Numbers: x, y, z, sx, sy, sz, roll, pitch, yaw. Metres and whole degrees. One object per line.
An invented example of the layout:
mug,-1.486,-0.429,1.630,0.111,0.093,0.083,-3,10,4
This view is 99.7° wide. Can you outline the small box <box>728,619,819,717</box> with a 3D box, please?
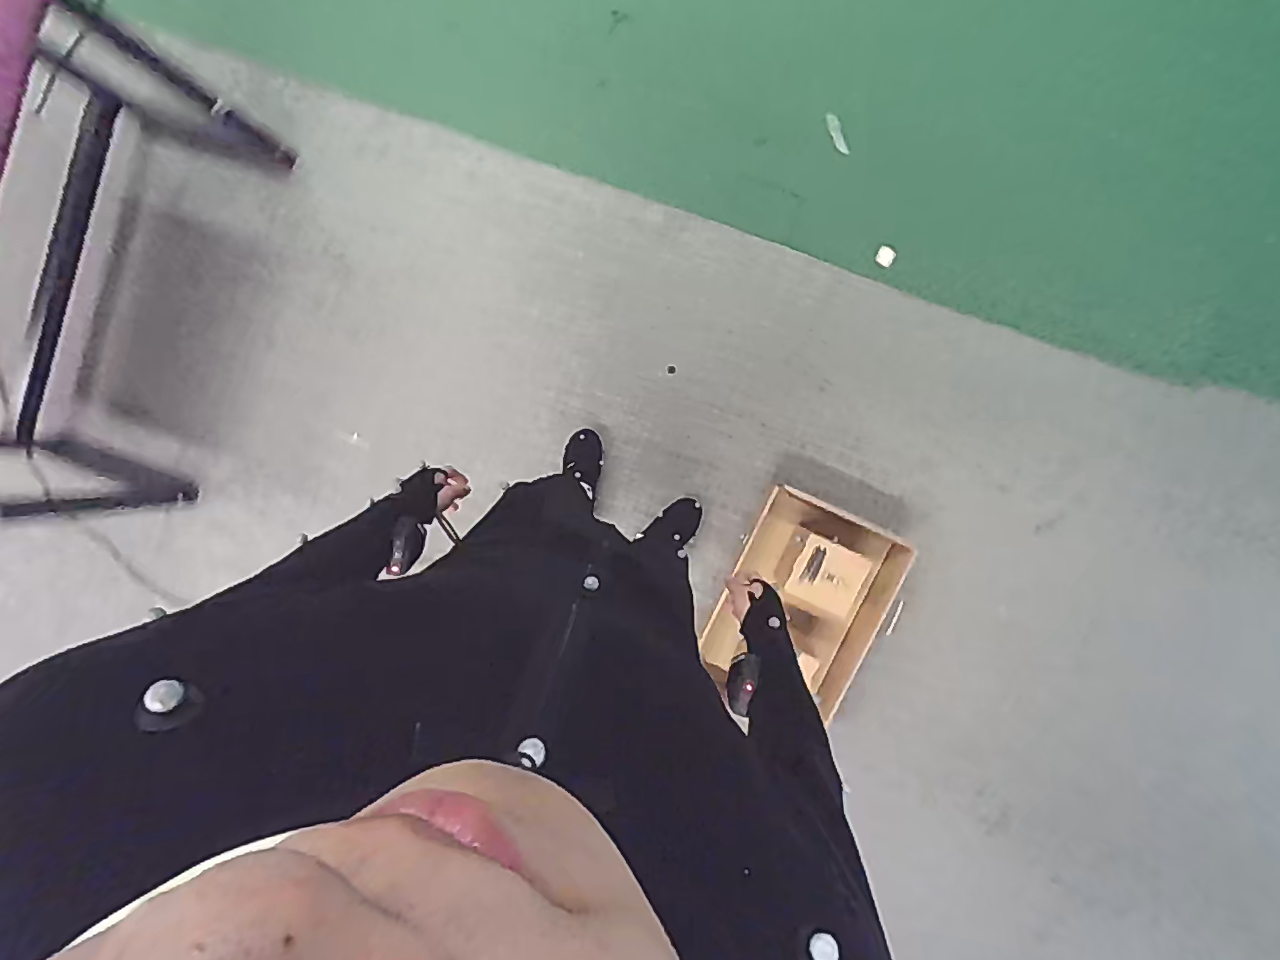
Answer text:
small box,0.354,0.503,1.475,0.179,0.176,0.168,26,93,4
